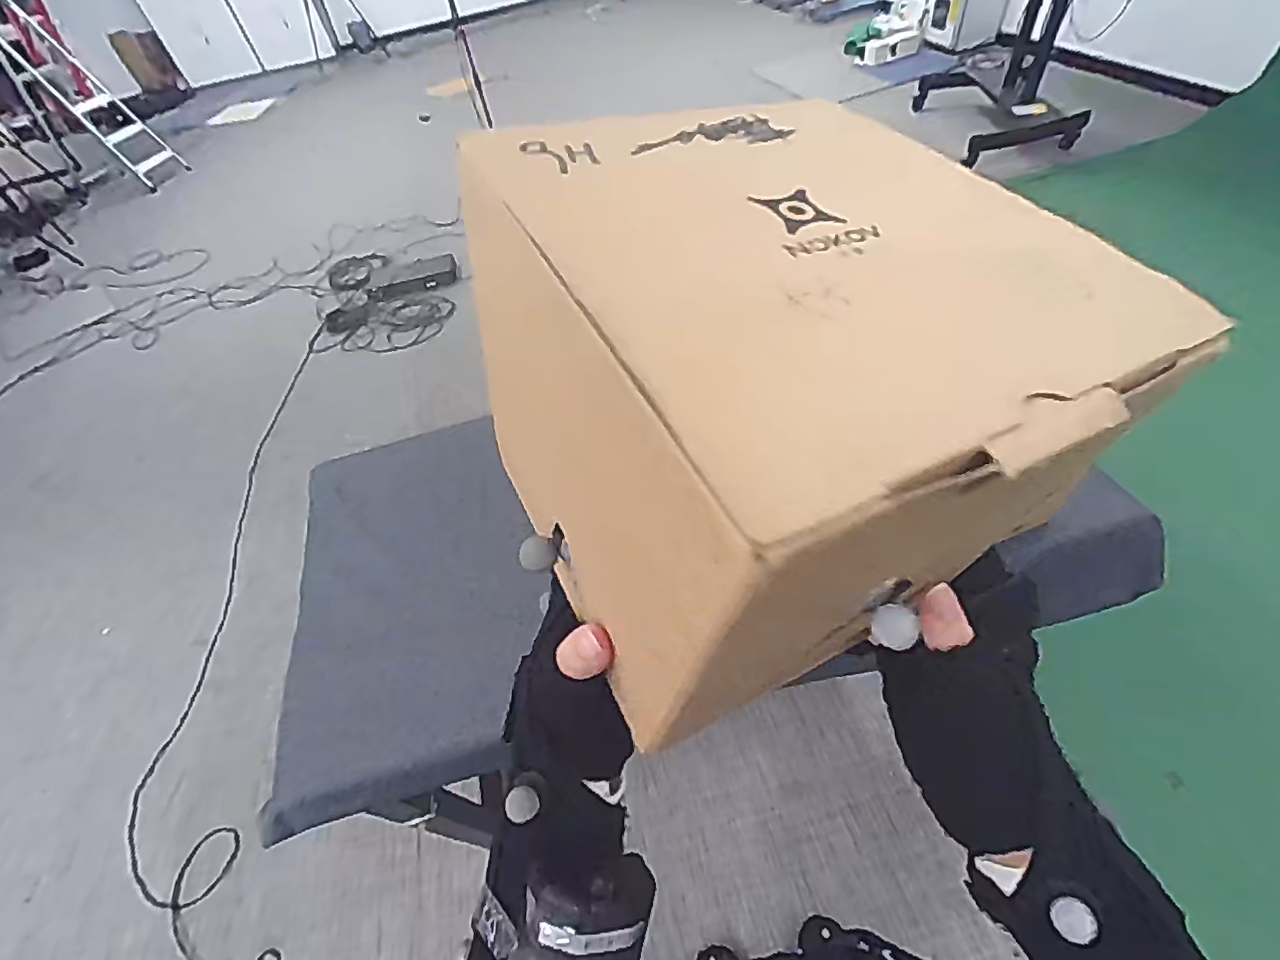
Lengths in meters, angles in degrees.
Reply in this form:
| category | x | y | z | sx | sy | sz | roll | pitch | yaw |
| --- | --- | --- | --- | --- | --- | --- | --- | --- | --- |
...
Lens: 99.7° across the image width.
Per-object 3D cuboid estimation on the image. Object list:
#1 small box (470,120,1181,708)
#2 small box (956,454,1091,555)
| category | x | y | z | sx | sy | sz | roll | pitch | yaw |
| --- | --- | --- | --- | --- | --- | --- | --- | --- | --- |
| small box | 0.042 | -0.023 | 0.237 | 0.168 | 0.176 | 0.179 | -20 | 58 | -22 |
| small box | 0.454 | -0.016 | 0.753 | 0.168 | 0.176 | 0.179 | -20 | 49 | -7 |
